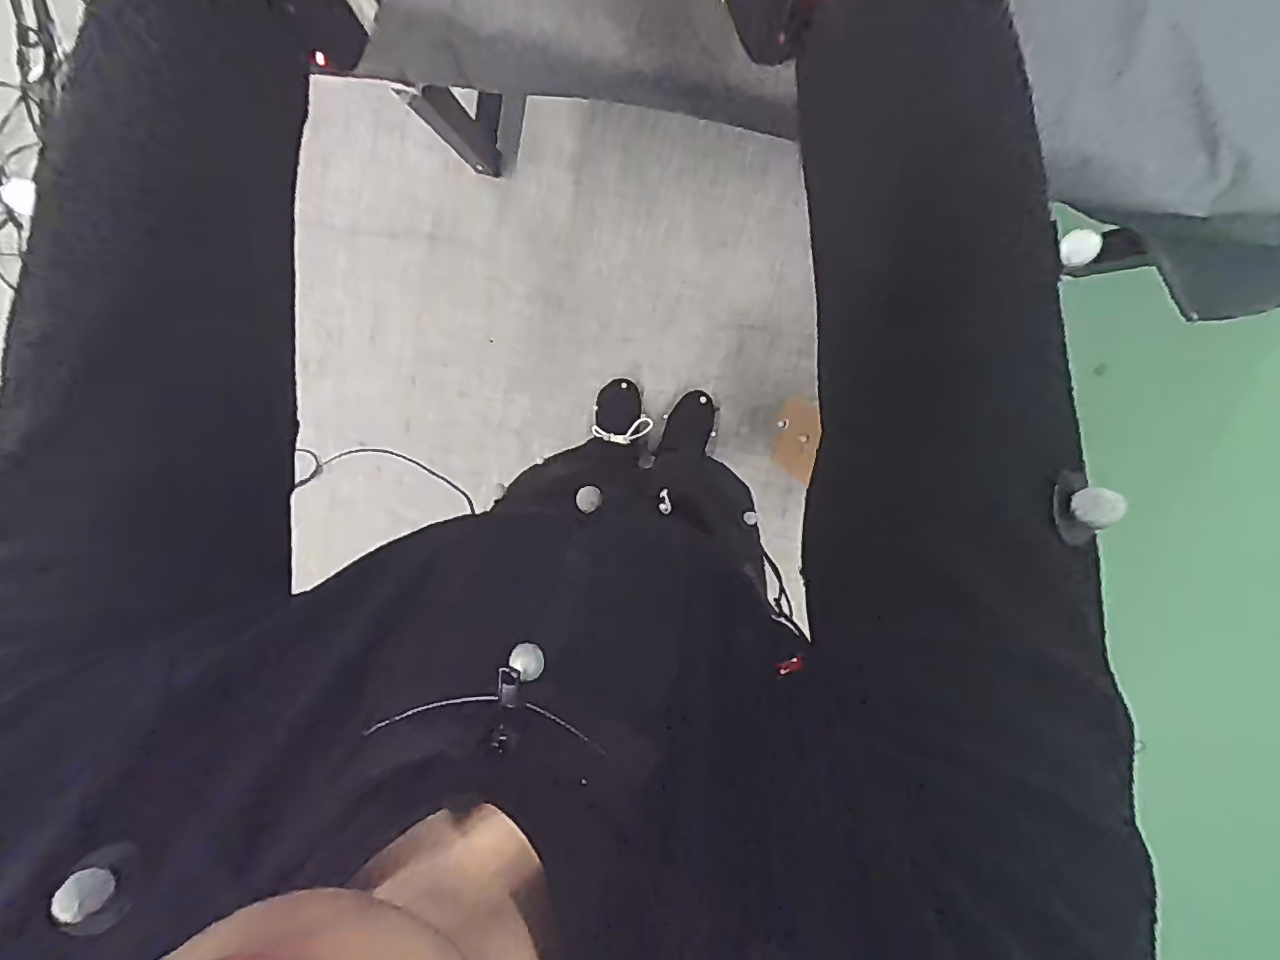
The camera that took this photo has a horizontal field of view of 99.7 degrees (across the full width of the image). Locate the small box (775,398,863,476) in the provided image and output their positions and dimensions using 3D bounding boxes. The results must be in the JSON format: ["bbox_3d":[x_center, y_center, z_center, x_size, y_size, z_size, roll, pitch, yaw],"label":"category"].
[{"bbox_3d":[0.433,-0.095,1.263,0.179,0.176,0.168,9,103,-1],"label":"small box"}]

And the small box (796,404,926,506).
[{"bbox_3d":[0.438,-0.058,1.103,0.179,0.176,0.168,9,103,-1],"label":"small box"}]
